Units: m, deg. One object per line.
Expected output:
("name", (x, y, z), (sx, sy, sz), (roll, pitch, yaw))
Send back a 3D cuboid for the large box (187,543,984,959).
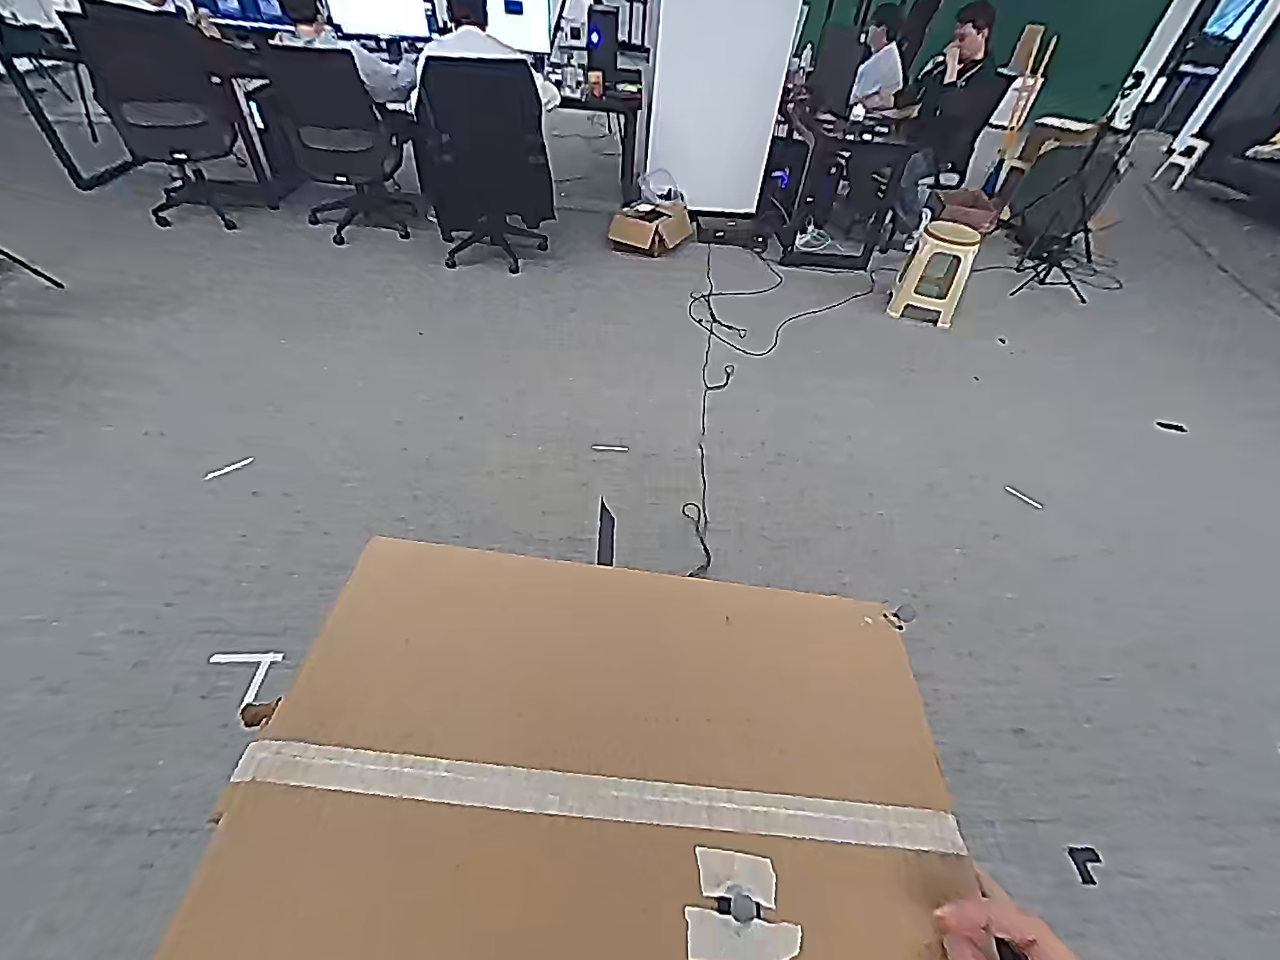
("large box", (-0.030, 0.285, 0.429), (0.408, 0.320, 0.320), (9, 47, -3))
